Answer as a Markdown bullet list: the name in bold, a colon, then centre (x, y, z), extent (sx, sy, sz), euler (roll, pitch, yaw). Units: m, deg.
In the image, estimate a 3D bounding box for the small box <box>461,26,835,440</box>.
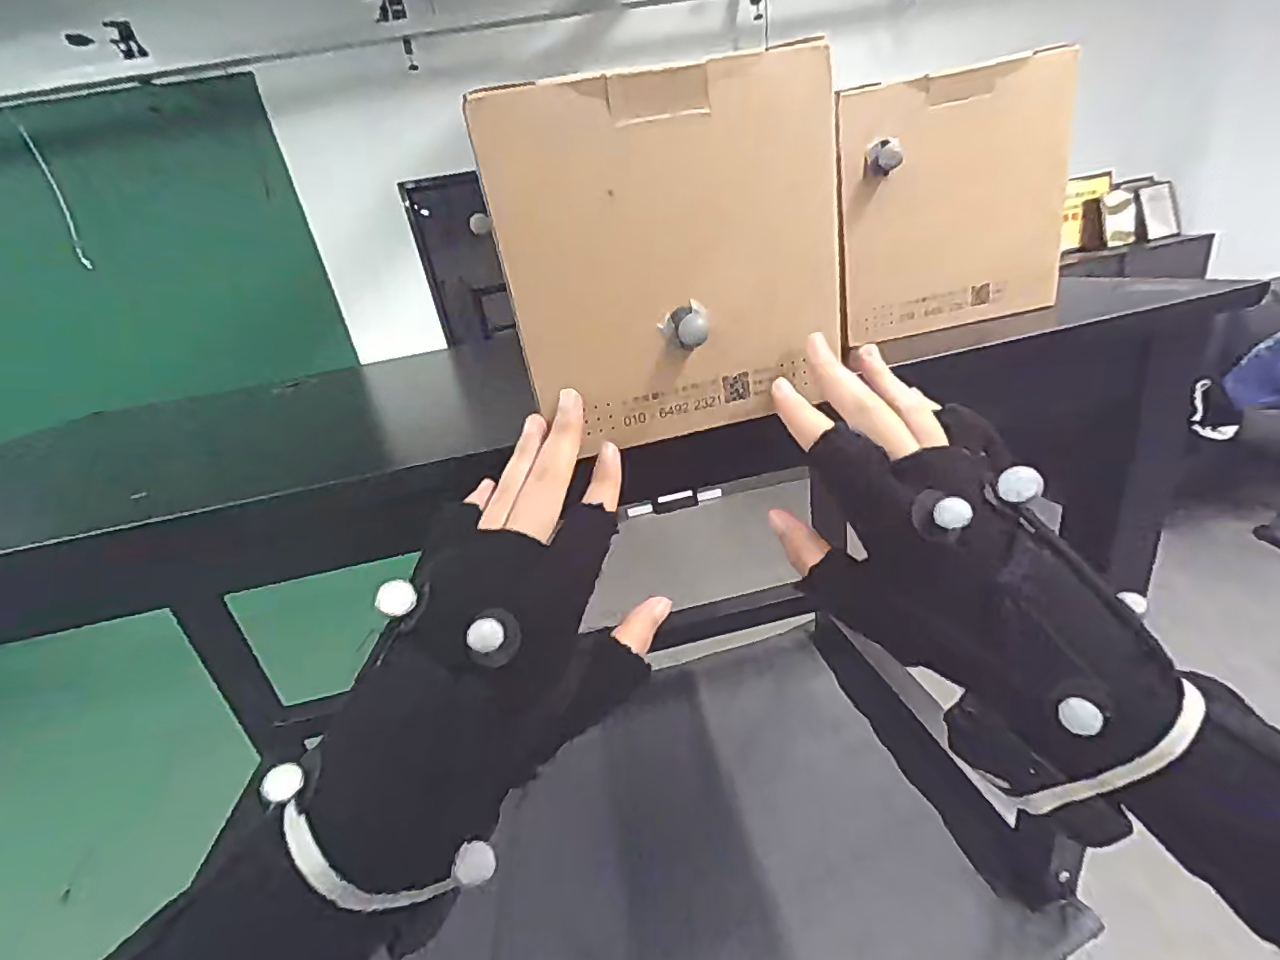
- **small box**: centre (0.004, -0.136, 0.337), extent (0.168, 0.176, 0.179), euler (-14, 23, -6)
